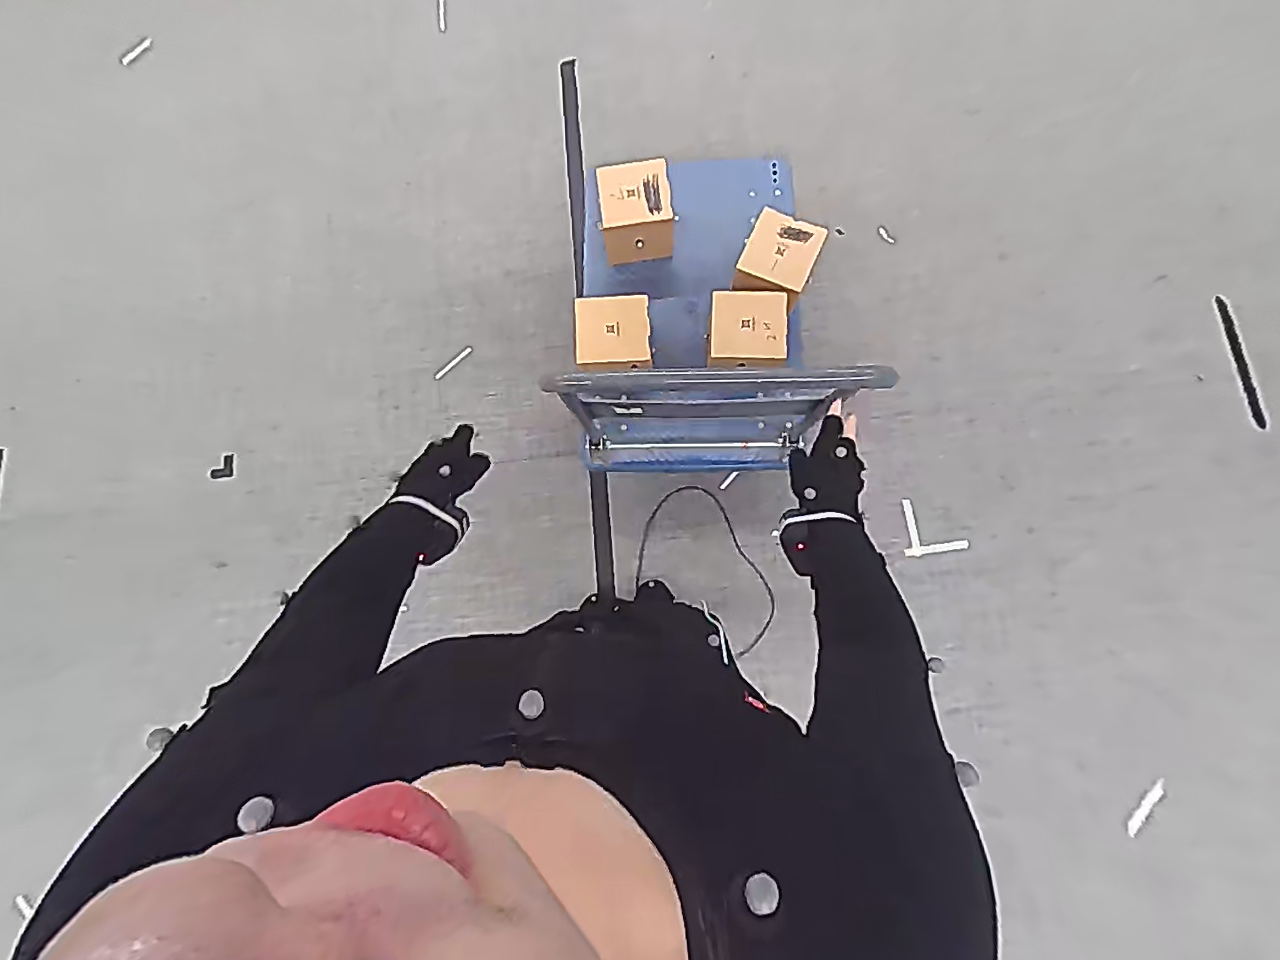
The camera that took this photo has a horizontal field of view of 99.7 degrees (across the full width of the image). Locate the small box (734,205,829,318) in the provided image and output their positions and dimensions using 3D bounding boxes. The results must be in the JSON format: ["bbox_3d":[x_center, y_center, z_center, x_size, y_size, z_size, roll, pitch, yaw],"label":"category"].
[{"bbox_3d":[0.342,-0.535,1.348,0.168,0.176,0.179,25,84,7],"label":"small box"}]

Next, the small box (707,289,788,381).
[{"bbox_3d":[0.257,-0.350,1.324,0.179,0.176,0.168,3,81,4],"label":"small box"}]

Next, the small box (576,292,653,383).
[{"bbox_3d":[-0.060,-0.347,1.344,0.179,0.176,0.168,-2,81,2],"label":"small box"}]
